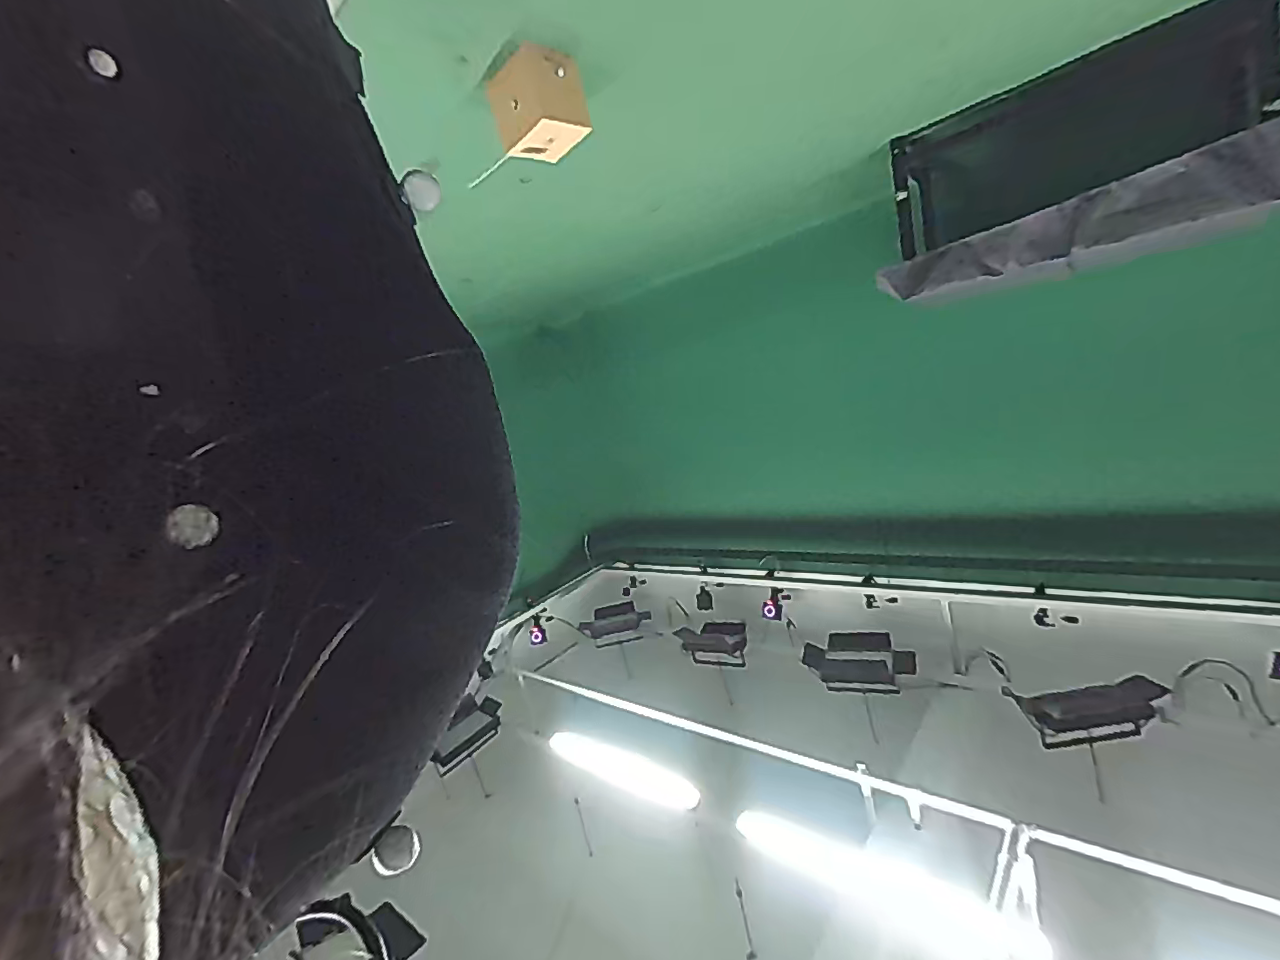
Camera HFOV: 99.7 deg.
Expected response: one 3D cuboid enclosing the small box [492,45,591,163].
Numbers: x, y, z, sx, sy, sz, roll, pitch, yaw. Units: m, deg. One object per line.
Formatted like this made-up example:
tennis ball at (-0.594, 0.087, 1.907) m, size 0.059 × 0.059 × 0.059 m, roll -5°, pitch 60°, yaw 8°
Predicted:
small box at (-0.253, -0.938, 1.364) m, size 0.179 × 0.176 × 0.168 m, roll -6°, pitch -167°, yaw 46°
